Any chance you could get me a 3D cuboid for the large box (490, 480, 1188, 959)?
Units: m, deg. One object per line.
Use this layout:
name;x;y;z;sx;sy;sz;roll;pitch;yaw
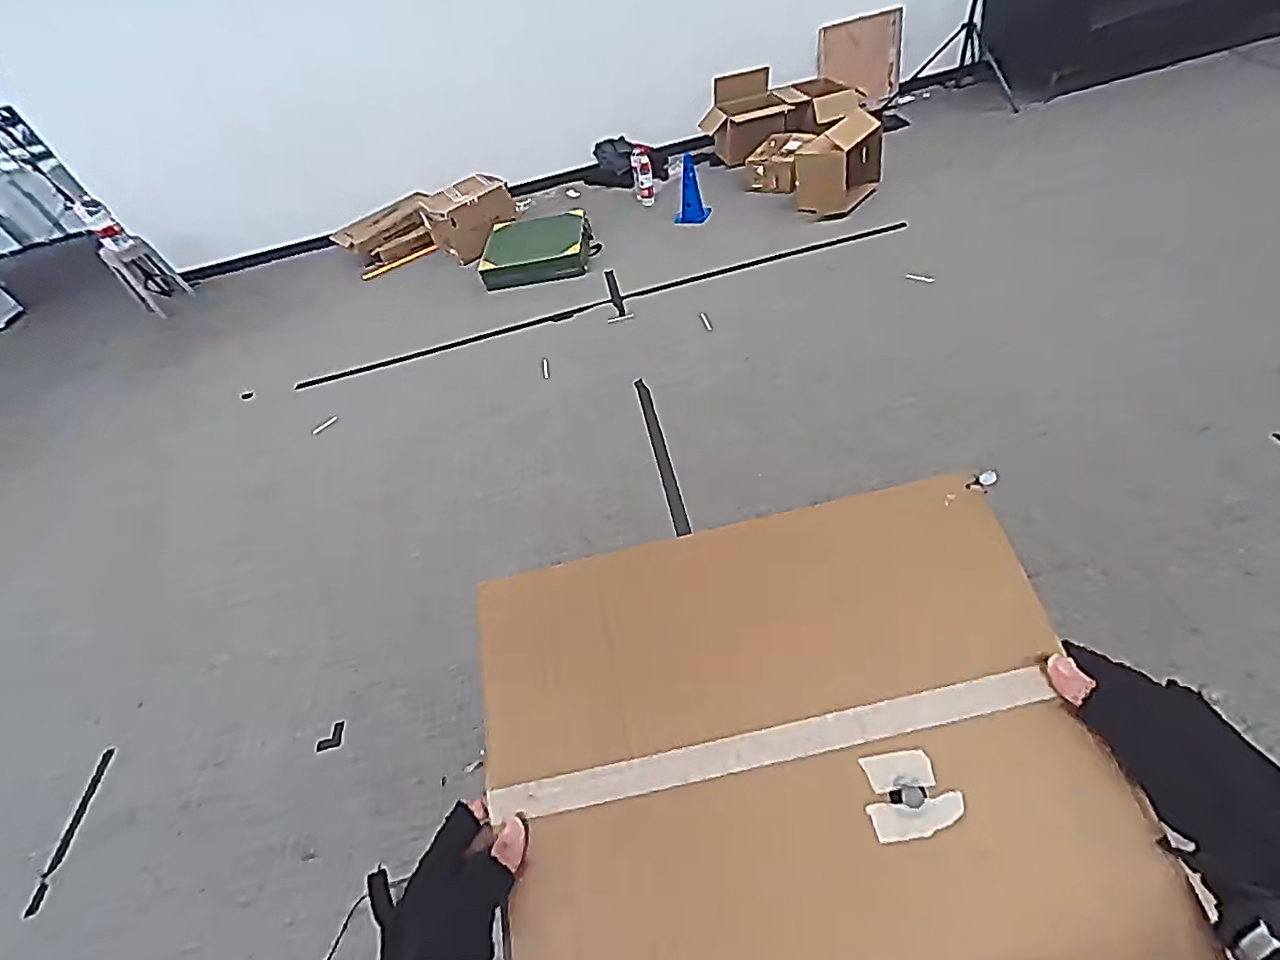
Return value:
large box;0.115;0.244;0.514;0.408;0.320;0.320;-14;65;0
